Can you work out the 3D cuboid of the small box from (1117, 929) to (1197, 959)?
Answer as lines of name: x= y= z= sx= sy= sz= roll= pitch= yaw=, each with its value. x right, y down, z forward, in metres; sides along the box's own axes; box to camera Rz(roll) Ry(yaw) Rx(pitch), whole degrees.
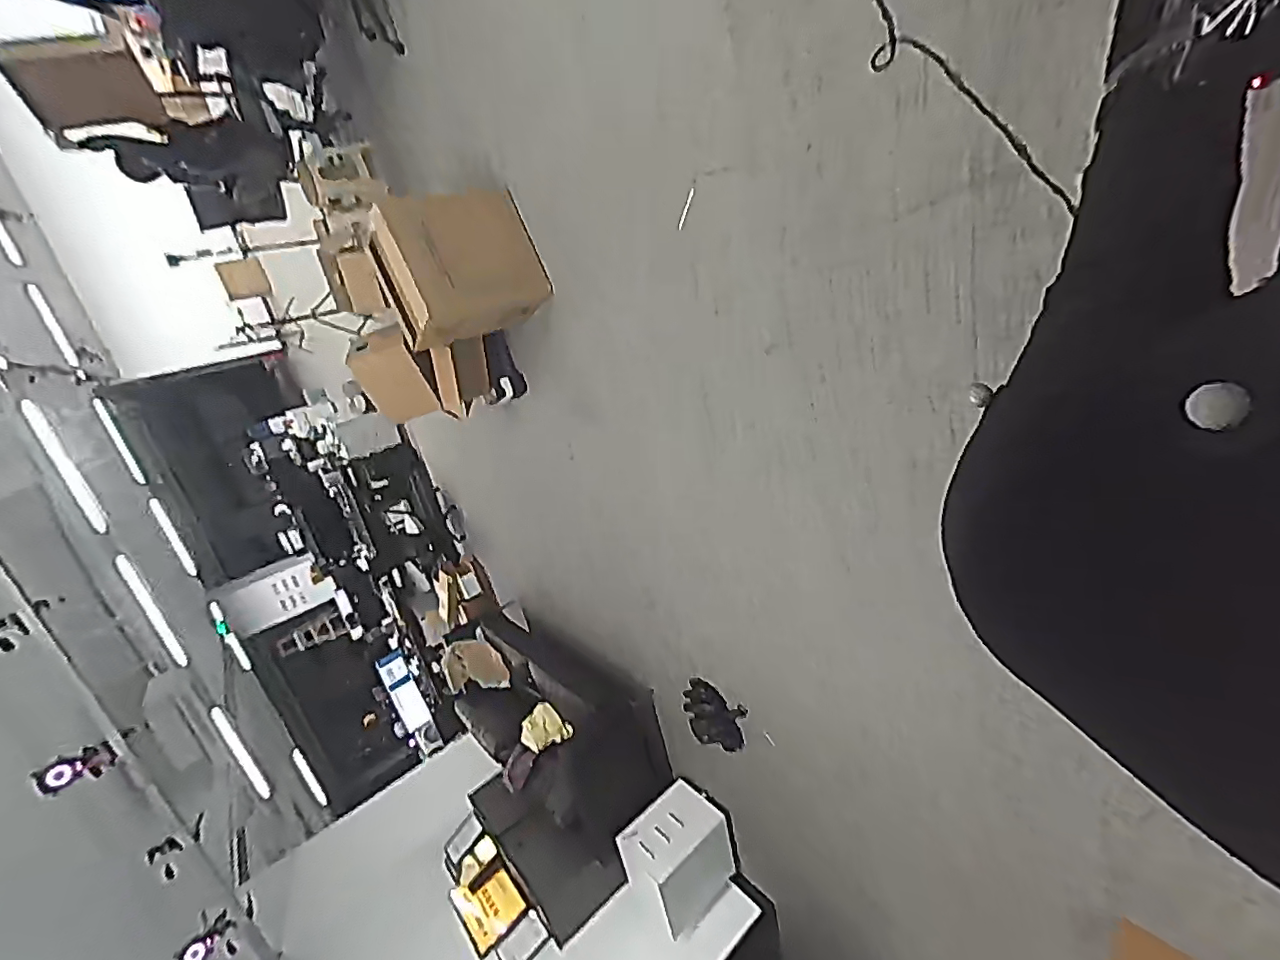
small box: x=1.444 y=1.404 z=1.495 sx=0.179 sy=0.176 sz=0.168 roll=6 pitch=118 yaw=51
